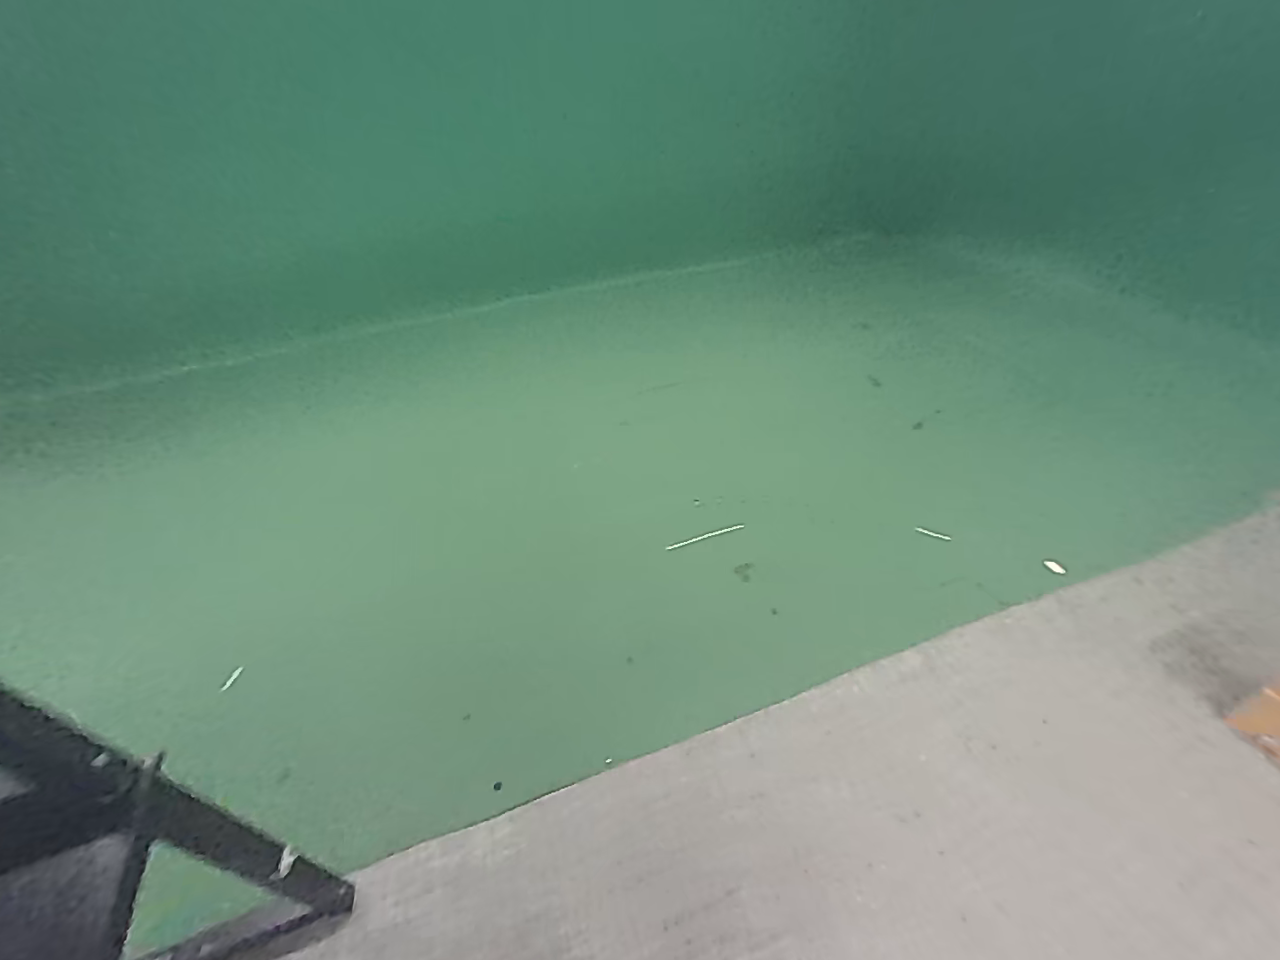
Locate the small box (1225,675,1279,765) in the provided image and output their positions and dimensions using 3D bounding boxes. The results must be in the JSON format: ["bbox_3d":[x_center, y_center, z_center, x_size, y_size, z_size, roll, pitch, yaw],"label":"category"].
[{"bbox_3d":[1.628,0.583,1.332,0.179,0.176,0.168,-19,43,-16],"label":"small box"}]
